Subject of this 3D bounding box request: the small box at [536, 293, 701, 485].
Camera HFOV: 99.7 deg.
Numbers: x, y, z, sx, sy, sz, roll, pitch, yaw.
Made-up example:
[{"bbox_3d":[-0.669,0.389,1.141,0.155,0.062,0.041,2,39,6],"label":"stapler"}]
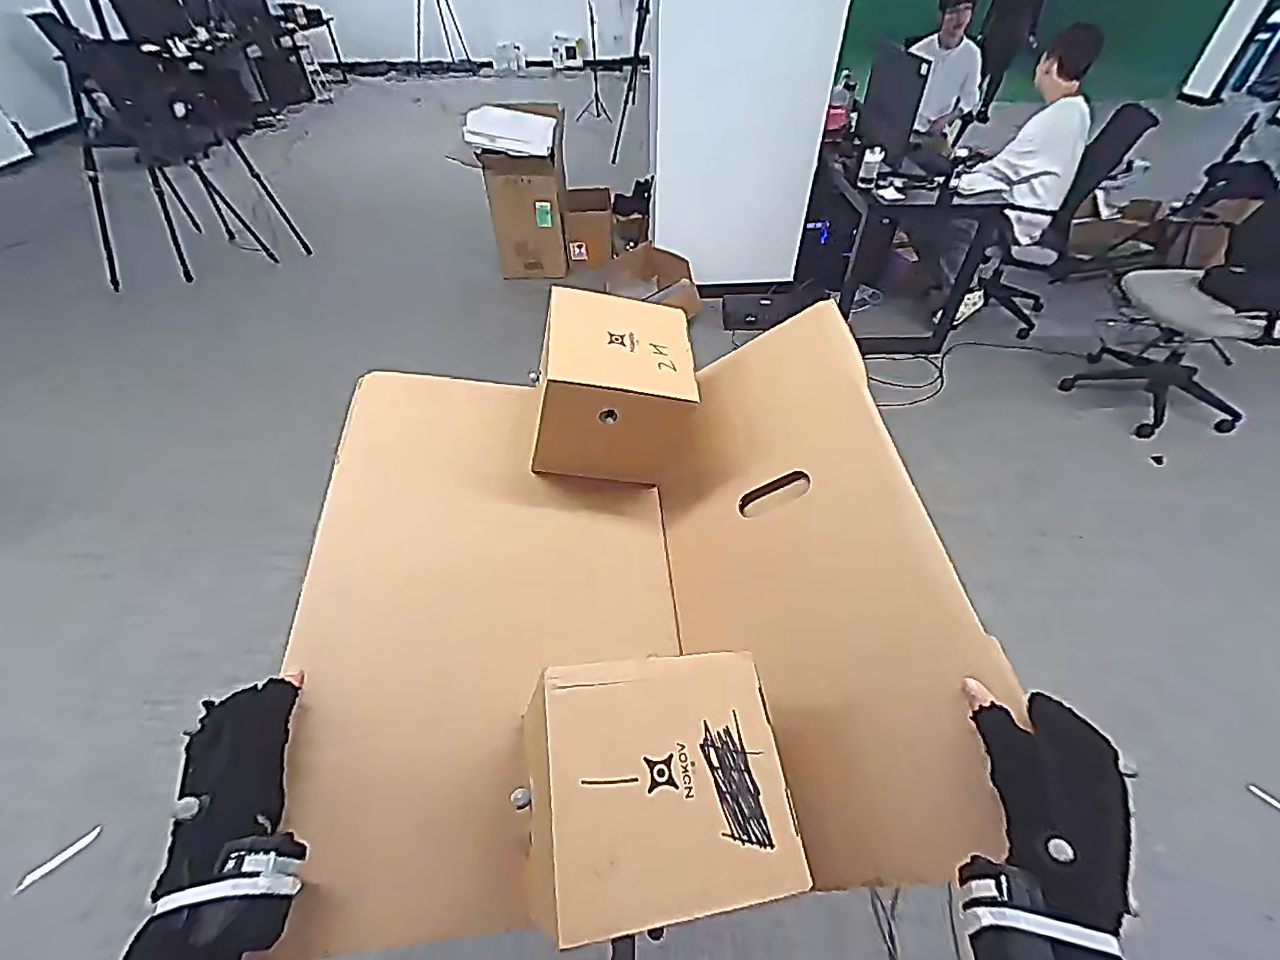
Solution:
[{"bbox_3d":[-0.037,-0.110,0.702,0.179,0.176,0.168,8,54,-14],"label":"small box"}]
